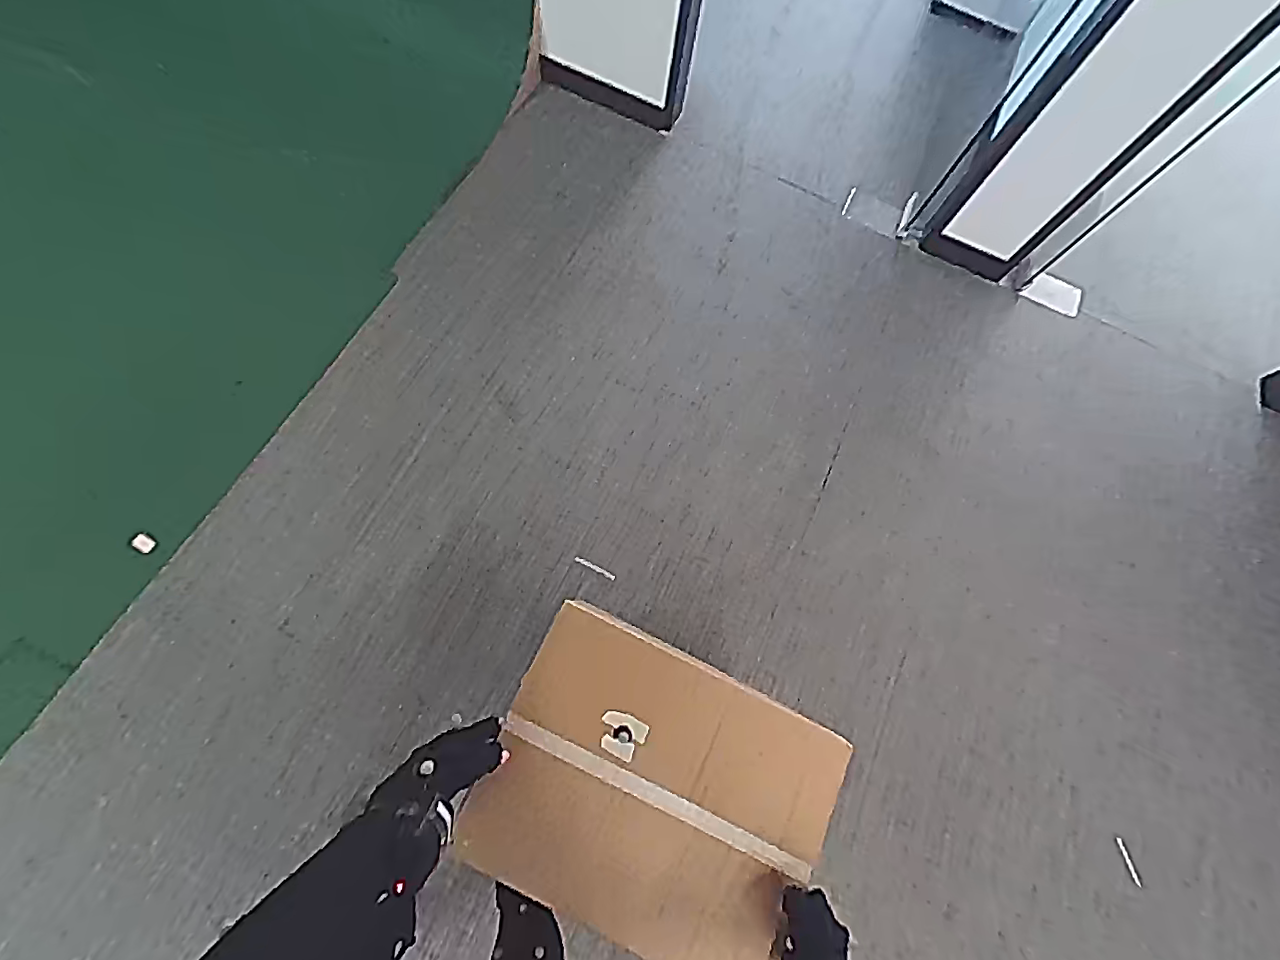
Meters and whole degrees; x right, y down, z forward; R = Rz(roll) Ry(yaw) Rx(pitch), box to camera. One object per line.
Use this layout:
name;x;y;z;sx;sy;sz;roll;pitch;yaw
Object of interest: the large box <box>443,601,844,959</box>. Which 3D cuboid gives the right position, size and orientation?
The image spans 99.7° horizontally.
large box;0.008;0.401;0.792;0.408;0.320;0.320;25;77;4
